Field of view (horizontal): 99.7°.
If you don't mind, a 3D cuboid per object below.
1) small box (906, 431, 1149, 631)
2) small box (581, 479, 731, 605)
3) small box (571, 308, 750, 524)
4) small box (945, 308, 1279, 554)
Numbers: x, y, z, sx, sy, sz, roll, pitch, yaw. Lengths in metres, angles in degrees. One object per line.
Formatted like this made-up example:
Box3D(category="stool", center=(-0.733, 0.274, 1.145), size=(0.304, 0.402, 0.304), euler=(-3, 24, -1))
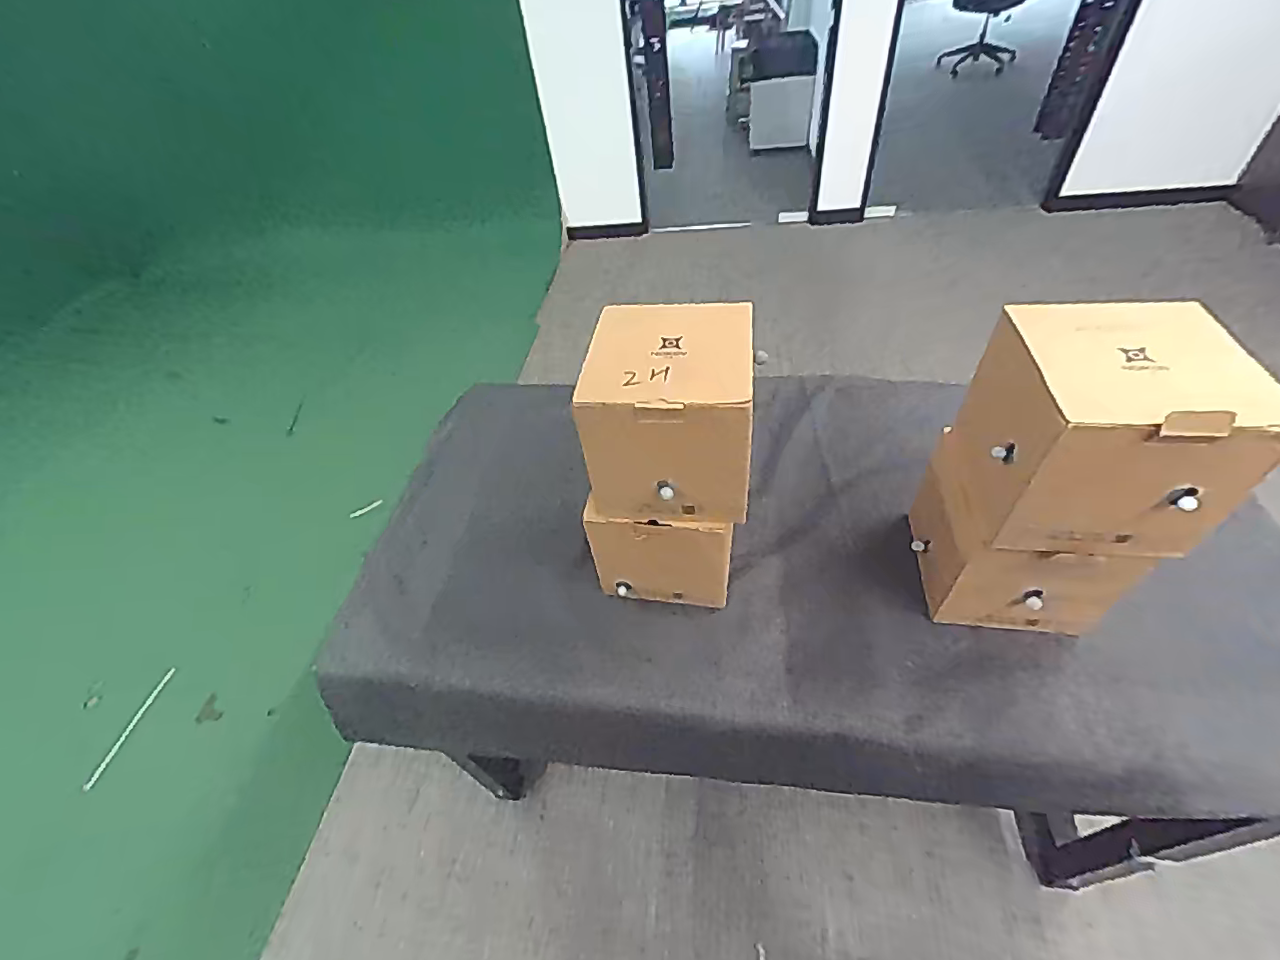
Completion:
Box3D(category="small box", center=(0.435, 0.061, 0.646), size=(0.168, 0.176, 0.179), euler=(3, 48, 11))
Box3D(category="small box", center=(0.035, 0.045, 0.719), size=(0.168, 0.176, 0.179), euler=(4, 47, 12))
Box3D(category="small box", center=(0.034, -0.073, 0.603), size=(0.168, 0.176, 0.179), euler=(1, 47, 10))
Box3D(category="small box", center=(0.423, -0.045, 0.523), size=(0.168, 0.176, 0.179), euler=(2, 47, 10))
